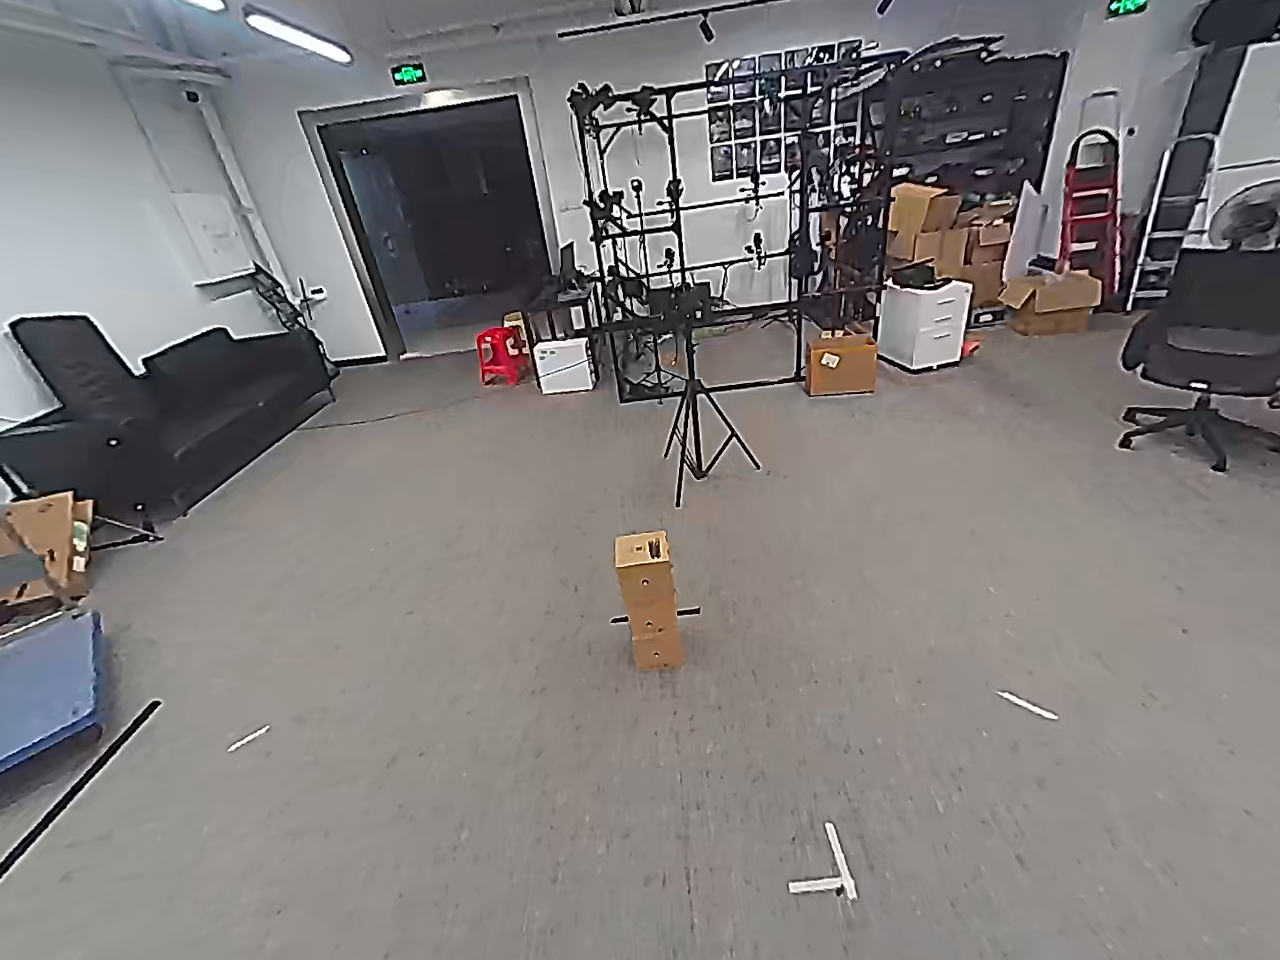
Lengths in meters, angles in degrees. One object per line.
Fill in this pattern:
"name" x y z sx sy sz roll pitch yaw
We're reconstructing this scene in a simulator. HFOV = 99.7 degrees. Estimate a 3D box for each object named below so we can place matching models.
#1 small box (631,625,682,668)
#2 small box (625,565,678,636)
"small box" 0.059 0.572 1.990 0.168 0.176 0.179 -8 28 1
"small box" 0.041 0.427 1.919 0.168 0.176 0.179 -7 30 4
